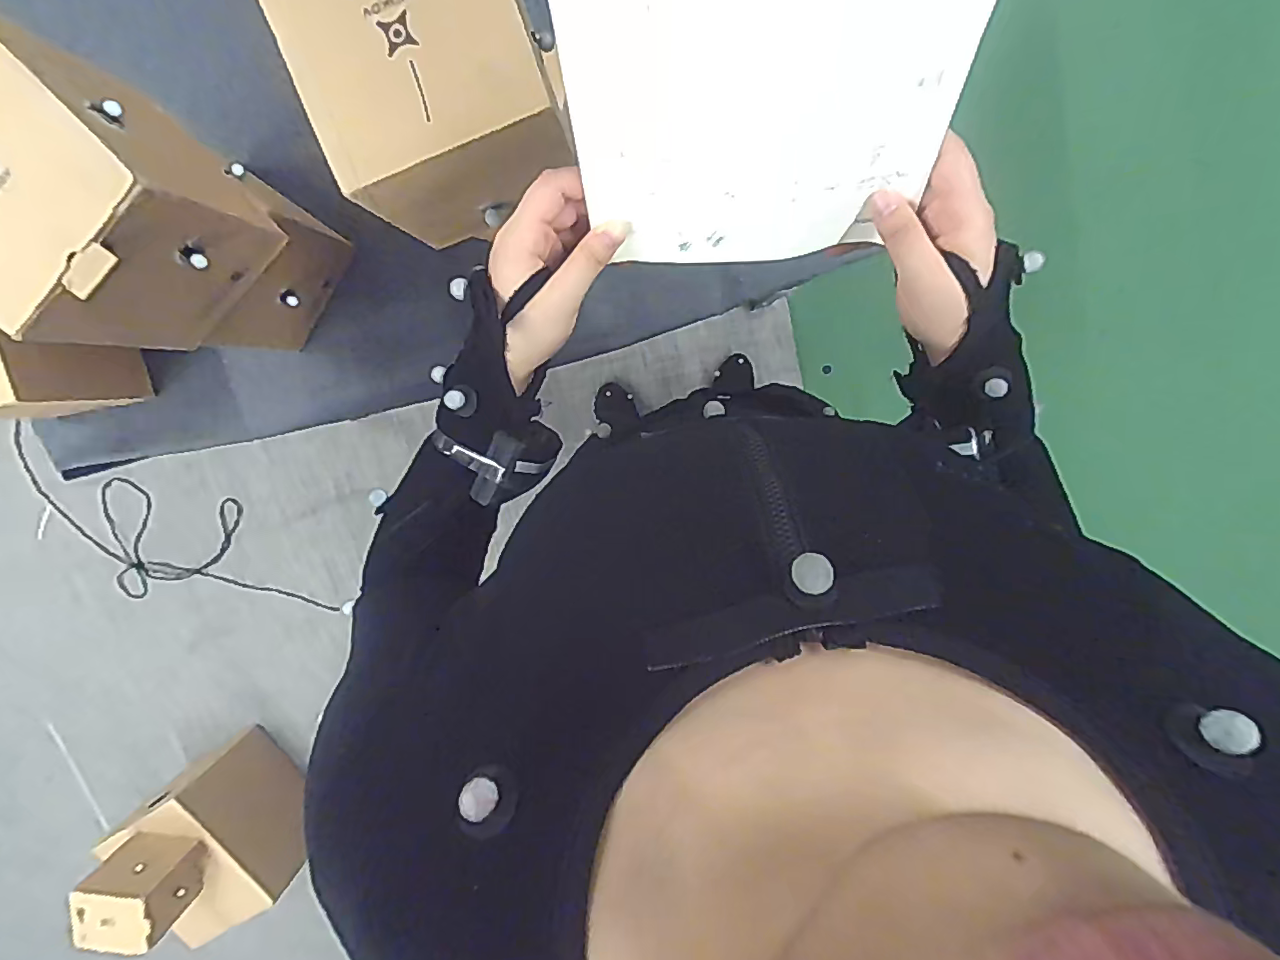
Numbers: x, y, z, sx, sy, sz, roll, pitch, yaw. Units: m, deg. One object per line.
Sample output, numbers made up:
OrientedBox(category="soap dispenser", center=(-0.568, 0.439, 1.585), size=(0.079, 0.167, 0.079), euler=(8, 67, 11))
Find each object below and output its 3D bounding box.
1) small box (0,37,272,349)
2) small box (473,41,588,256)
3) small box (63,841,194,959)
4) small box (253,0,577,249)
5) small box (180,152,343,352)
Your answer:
OrientedBox(category="small box", center=(-0.480, -0.232, 0.470), size=(0.168, 0.176, 0.179), euler=(-43, 96, 8))
OrientedBox(category="small box", center=(-0.165, -0.363, 0.600), size=(0.179, 0.176, 0.168), euler=(15, 101, 0))
OrientedBox(category="small box", center=(-1.255, 1.038, 1.343), size=(0.179, 0.176, 0.168), euler=(7, 101, -2))
OrientedBox(category="small box", center=(-0.165, -0.318, 0.442), size=(0.168, 0.176, 0.179), euler=(-19, 100, 6))
OrientedBox(category="small box", center=(-0.493, -0.266, 0.630), size=(0.179, 0.176, 0.168), euler=(34, 99, -5))
